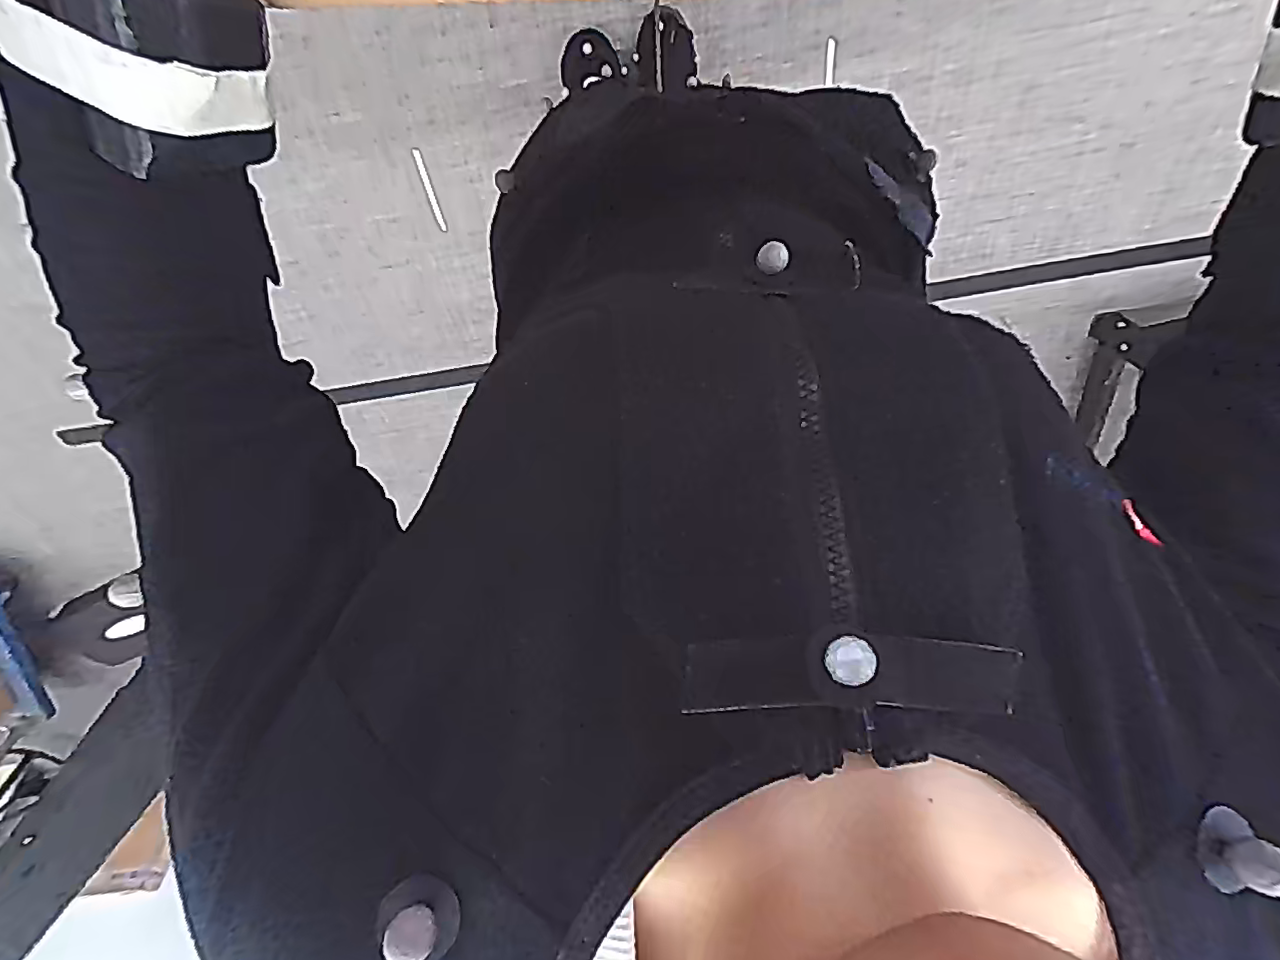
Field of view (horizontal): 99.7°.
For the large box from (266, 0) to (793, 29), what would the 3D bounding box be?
[{"bbox_3d":[0.040,-0.390,0.131,0.408,0.320,0.320,-4,159,-1],"label":"large box"}]
